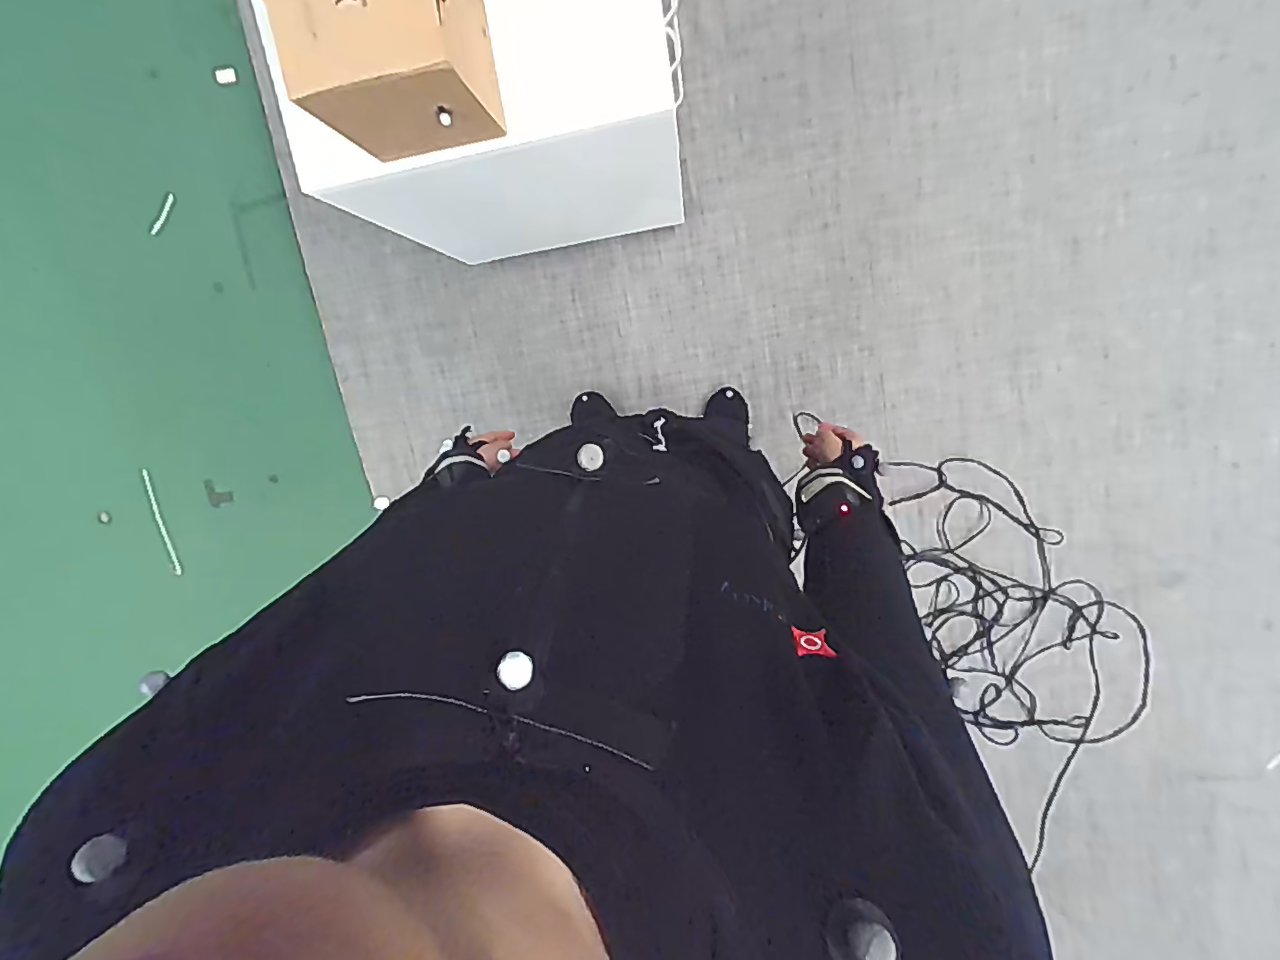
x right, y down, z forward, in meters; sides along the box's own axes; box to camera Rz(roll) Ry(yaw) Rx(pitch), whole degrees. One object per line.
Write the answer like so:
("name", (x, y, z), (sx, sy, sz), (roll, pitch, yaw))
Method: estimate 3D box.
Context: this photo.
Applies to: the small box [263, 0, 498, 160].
("small box", (-0.271, -0.484, 0.593), (0.179, 0.176, 0.168), (-8, 99, 8))
